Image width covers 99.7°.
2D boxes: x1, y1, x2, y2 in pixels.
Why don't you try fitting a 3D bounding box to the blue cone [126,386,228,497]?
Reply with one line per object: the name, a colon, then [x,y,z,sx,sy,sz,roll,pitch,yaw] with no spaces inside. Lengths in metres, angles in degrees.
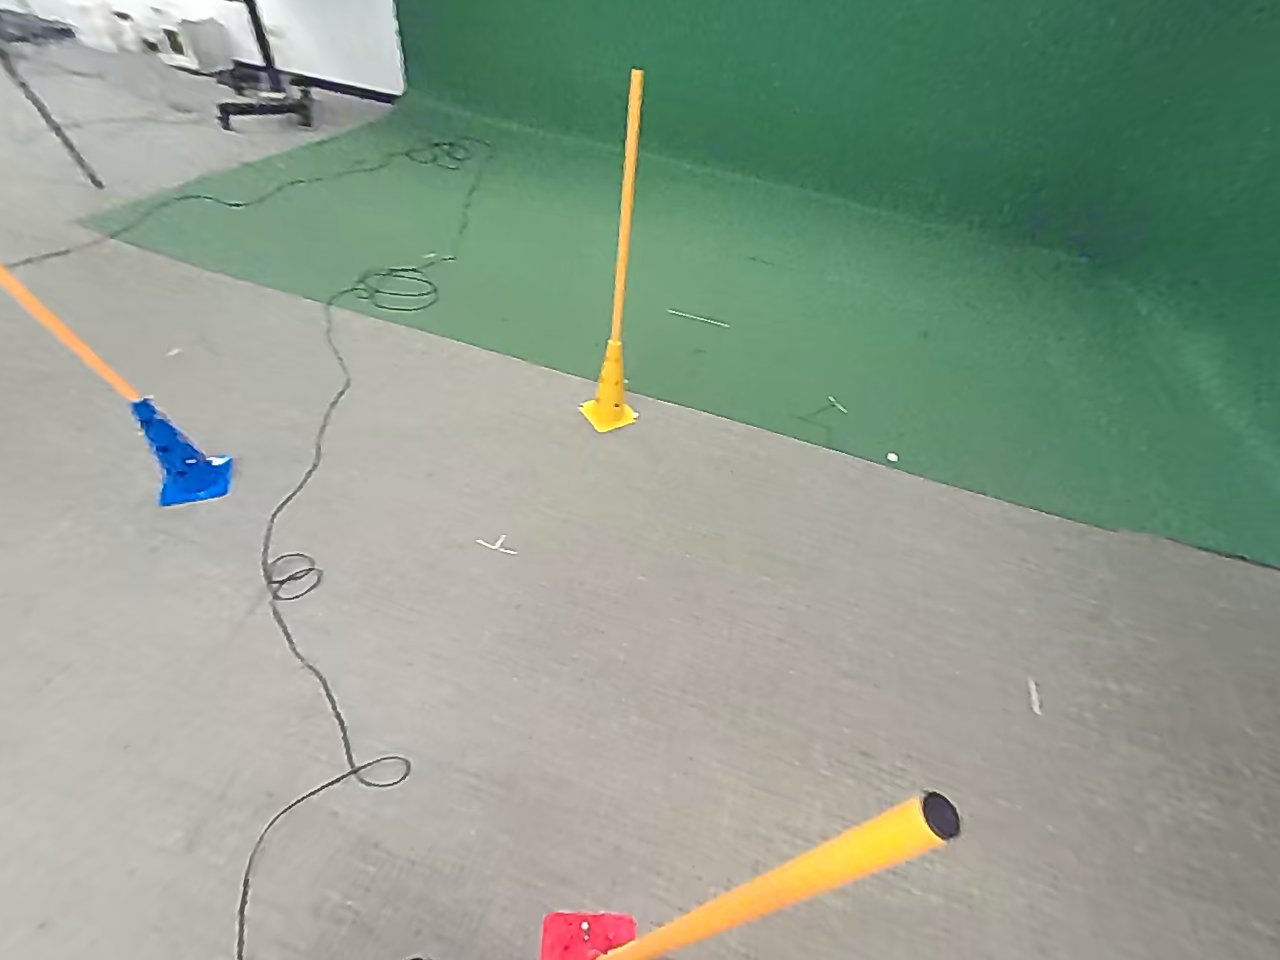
blue cone: [-1.487,-0.133,1.702,0.193,0.380,0.192,-14,52,-19]
